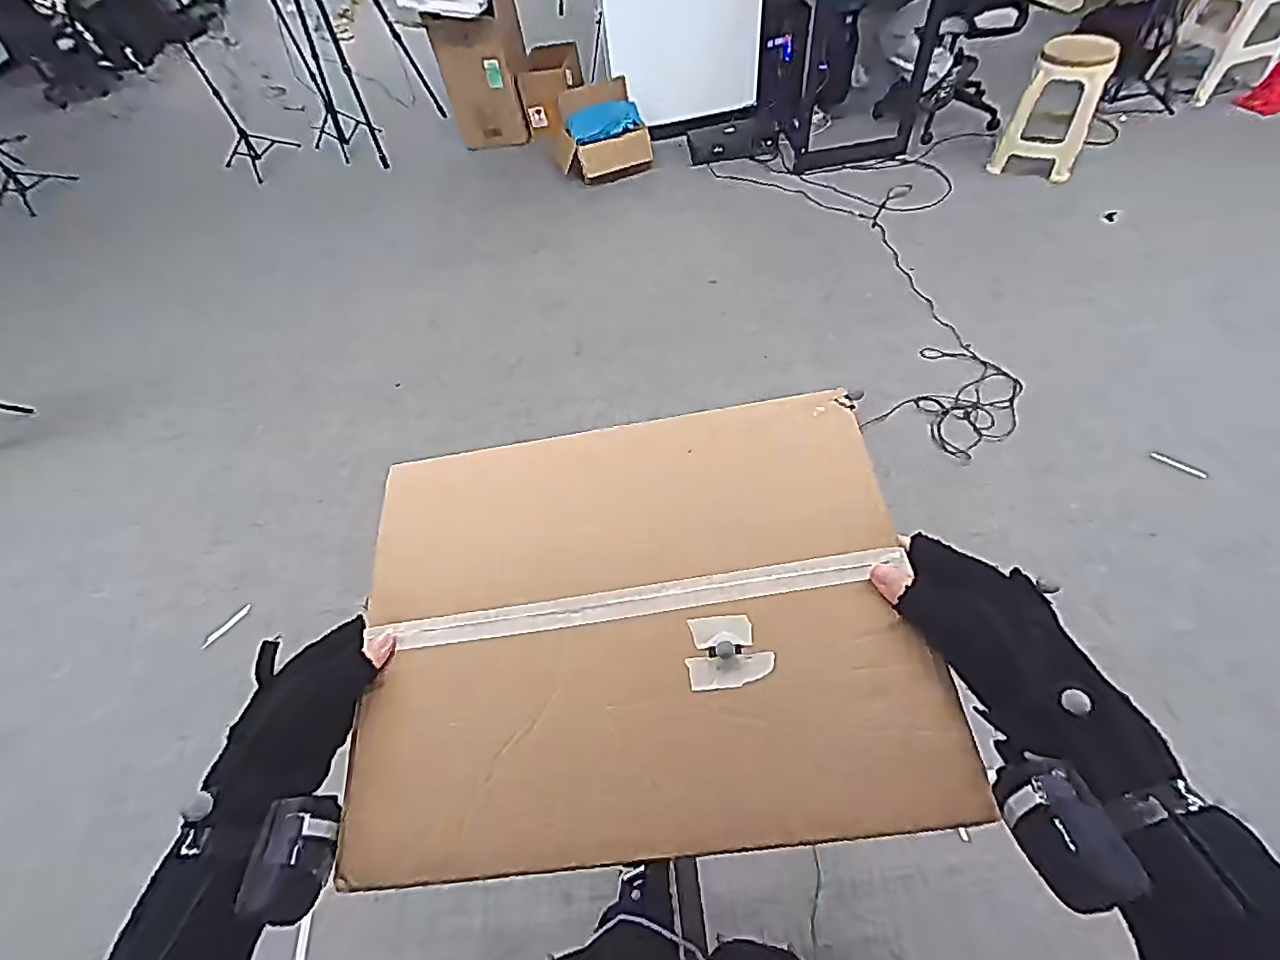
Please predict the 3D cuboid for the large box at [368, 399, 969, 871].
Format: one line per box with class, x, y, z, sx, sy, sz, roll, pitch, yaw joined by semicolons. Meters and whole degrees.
large box;0.014;0.164;0.548;0.408;0.320;0.320;-9;62;4
